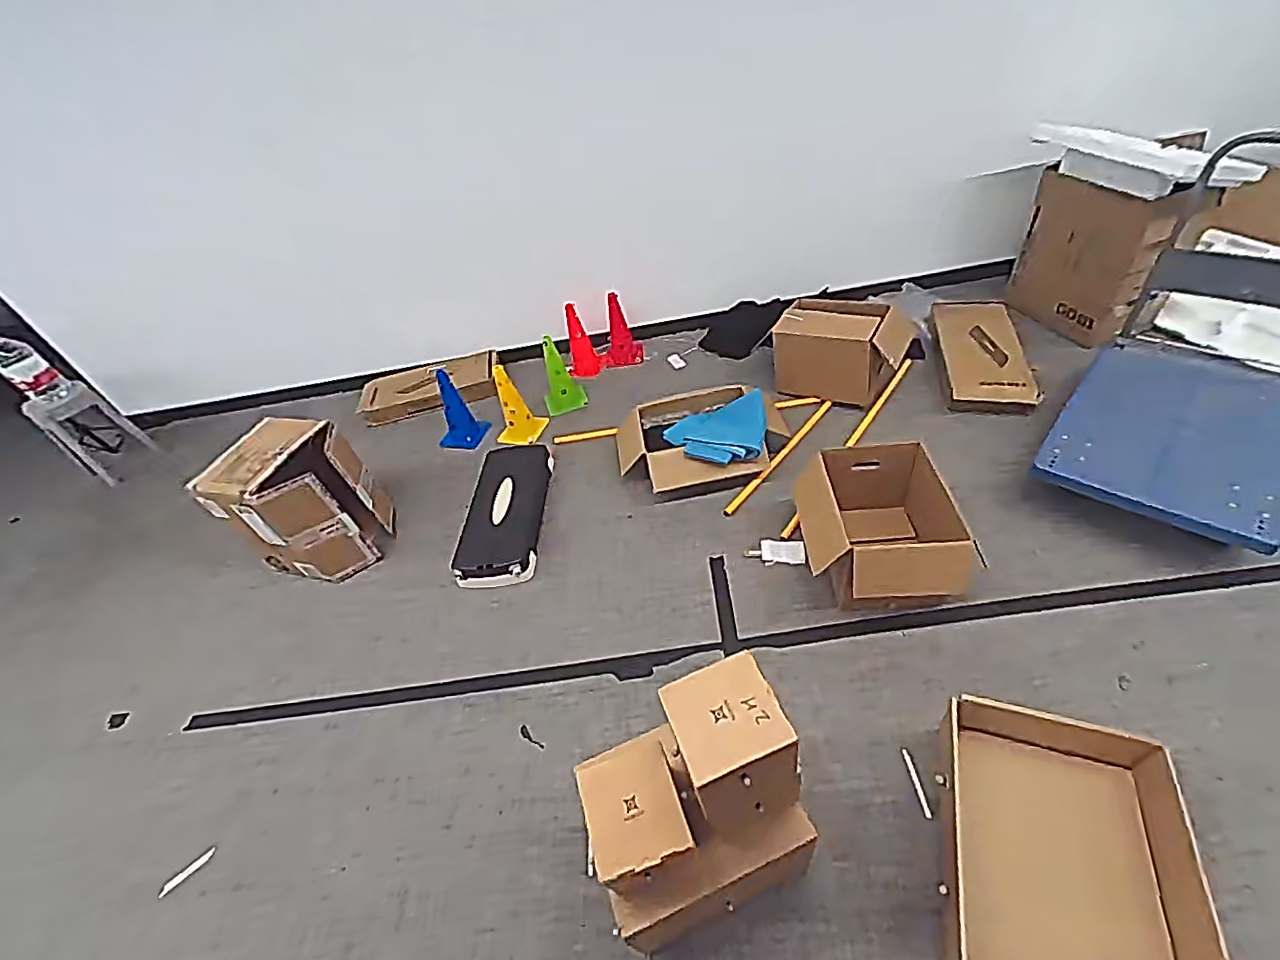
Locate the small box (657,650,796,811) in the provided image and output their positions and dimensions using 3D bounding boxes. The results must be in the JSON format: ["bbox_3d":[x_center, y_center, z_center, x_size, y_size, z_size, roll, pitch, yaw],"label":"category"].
[{"bbox_3d":[0.148,0.427,0.916,0.179,0.176,0.168,-21,45,-7],"label":"small box"}]
